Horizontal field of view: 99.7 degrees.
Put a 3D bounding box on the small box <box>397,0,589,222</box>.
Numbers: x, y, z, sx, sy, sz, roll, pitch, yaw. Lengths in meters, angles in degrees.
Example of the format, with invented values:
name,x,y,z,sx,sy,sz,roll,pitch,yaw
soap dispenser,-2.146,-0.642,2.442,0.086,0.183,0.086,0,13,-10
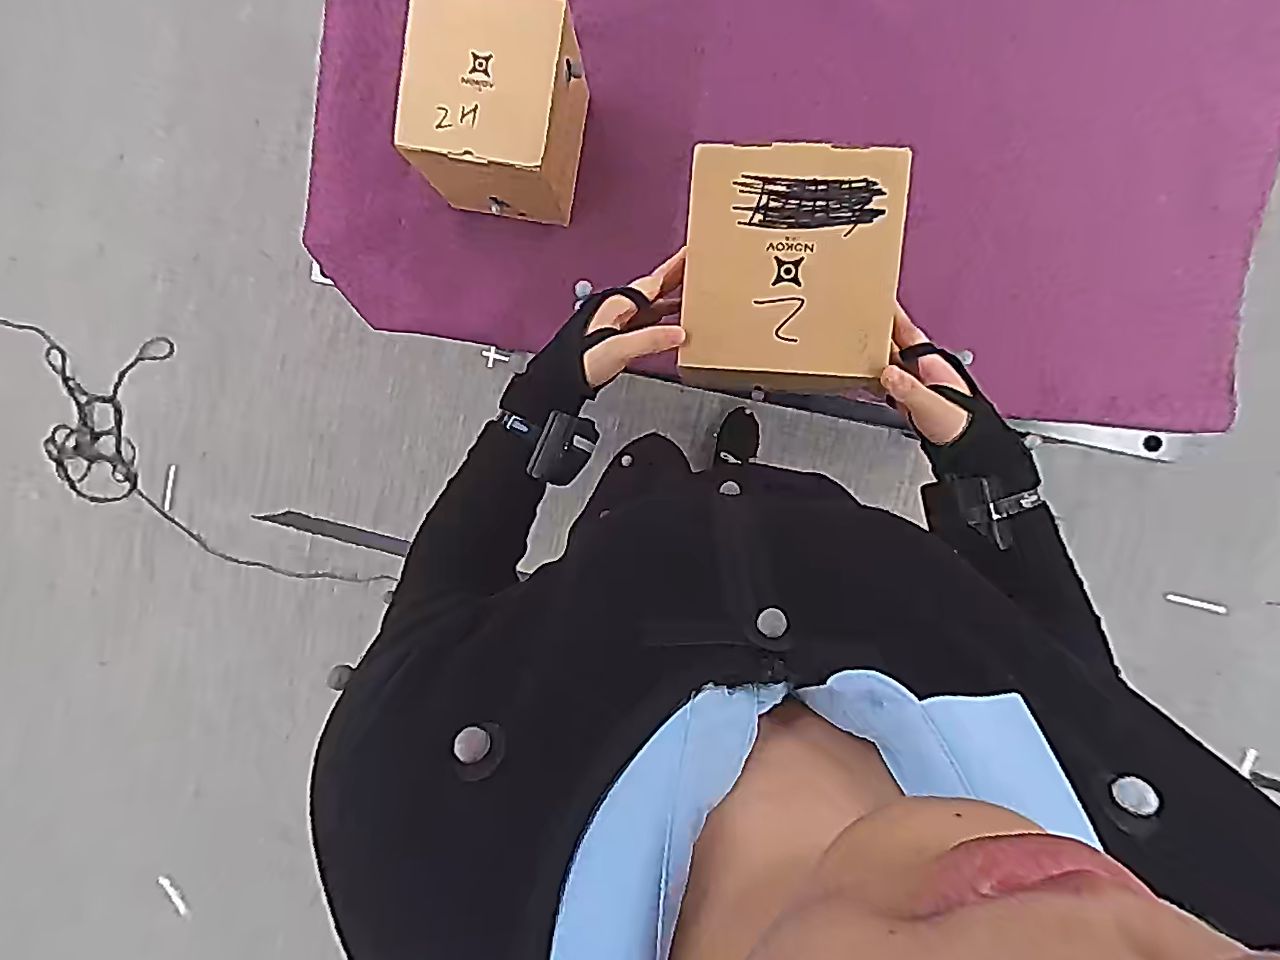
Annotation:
name,x,y,z,sx,sy,sz,roll,pitch,yaw
small box,-0.160,-0.437,0.642,0.168,0.176,0.179,10,96,2
